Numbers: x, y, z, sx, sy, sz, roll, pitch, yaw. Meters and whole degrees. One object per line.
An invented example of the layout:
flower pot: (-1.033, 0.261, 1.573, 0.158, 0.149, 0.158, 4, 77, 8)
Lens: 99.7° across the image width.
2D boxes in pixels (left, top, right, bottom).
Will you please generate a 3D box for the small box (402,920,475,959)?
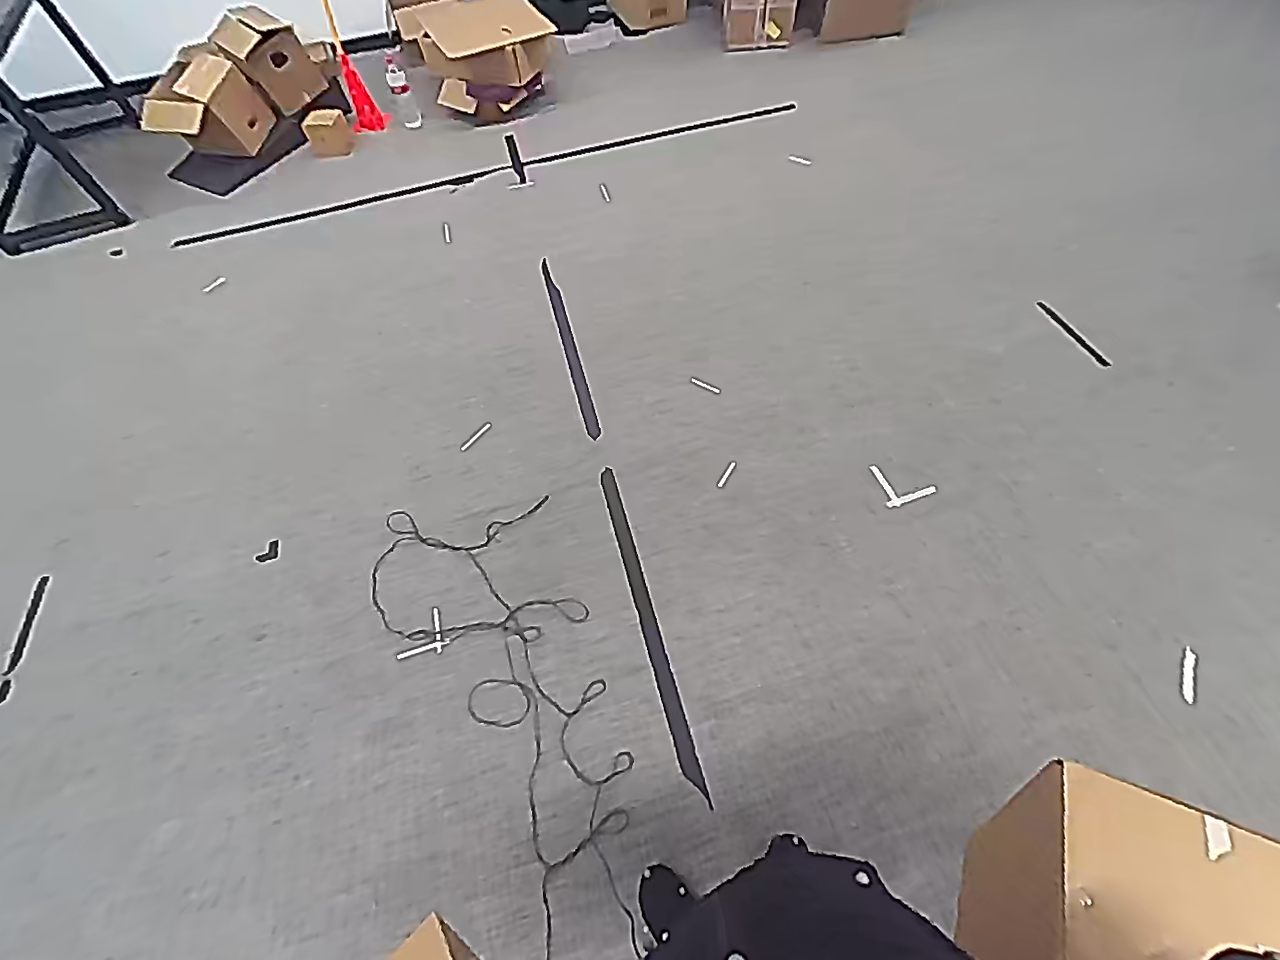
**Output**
small box: (-0.247, 0.714, 0.660, 0.168, 0.179, 0.176, -39, 101, -29)
